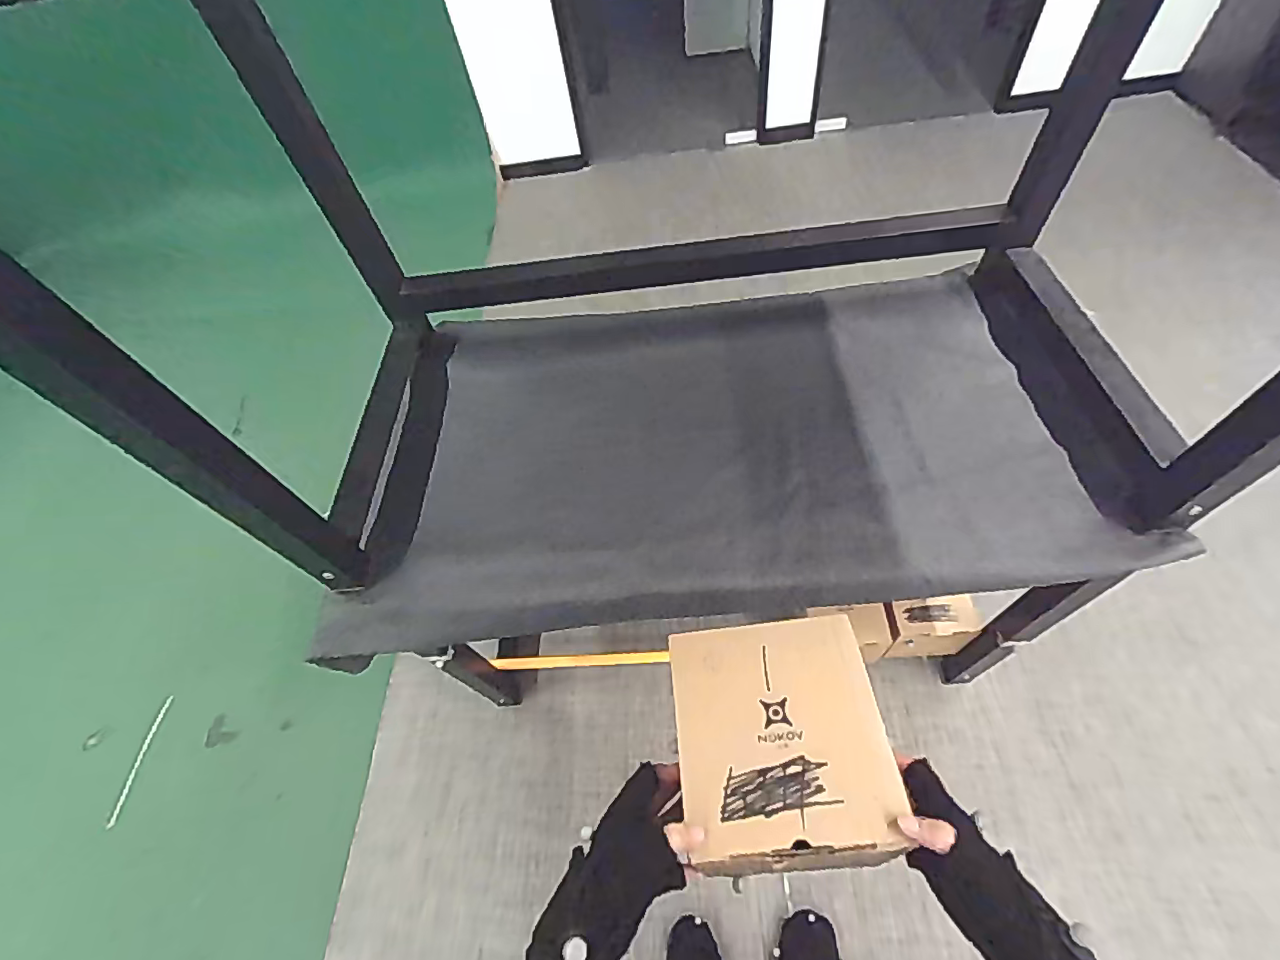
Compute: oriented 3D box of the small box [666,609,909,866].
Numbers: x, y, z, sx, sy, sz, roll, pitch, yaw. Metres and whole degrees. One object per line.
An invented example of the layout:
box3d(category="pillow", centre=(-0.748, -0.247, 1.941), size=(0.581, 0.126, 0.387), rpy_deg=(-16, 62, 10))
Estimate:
box3d(category="small box", centre=(0.121, 0.243, 0.499), size=(0.168, 0.176, 0.179), rpy_deg=(-9, 49, 6))
